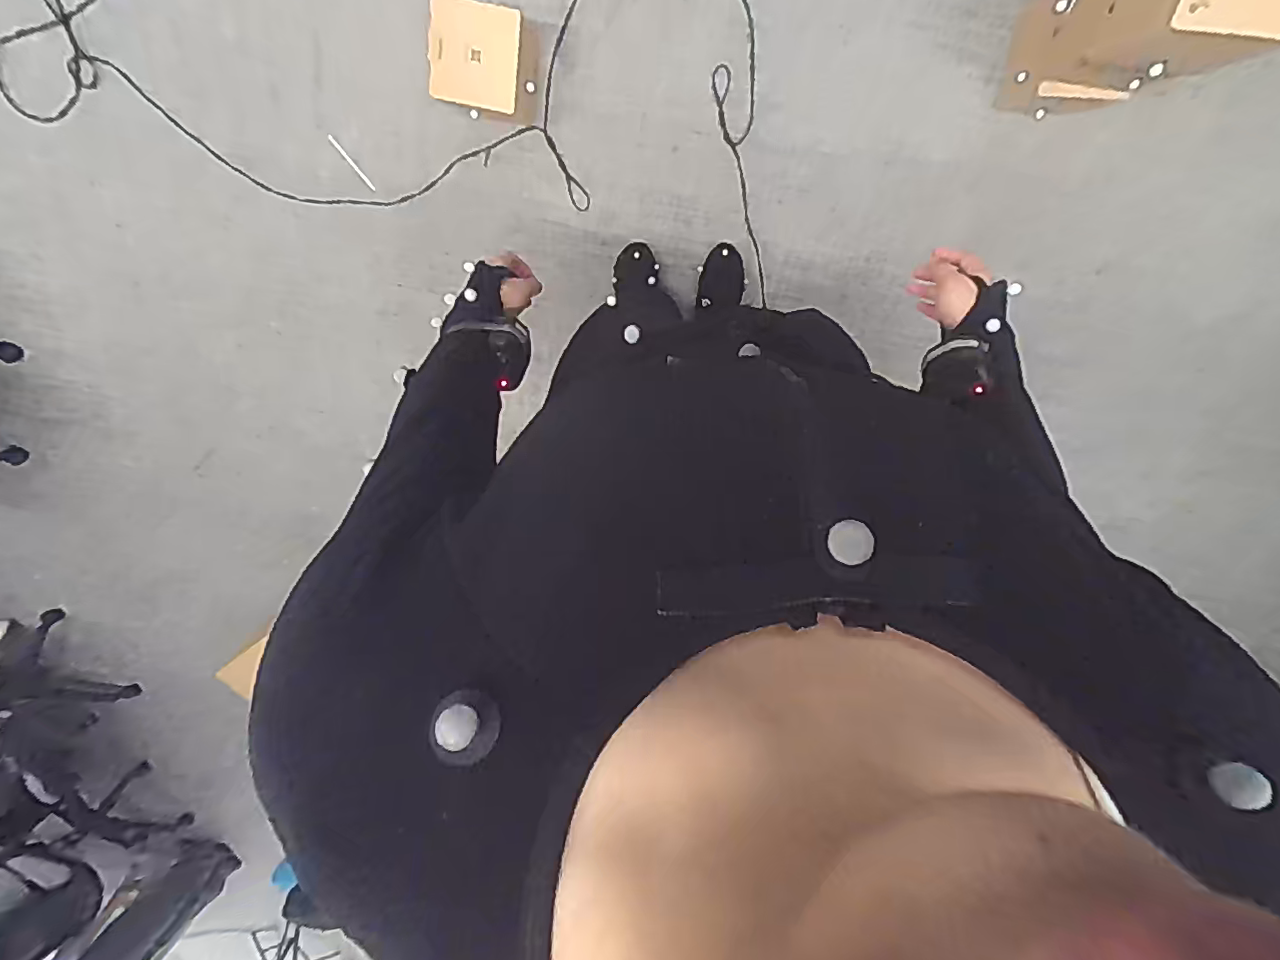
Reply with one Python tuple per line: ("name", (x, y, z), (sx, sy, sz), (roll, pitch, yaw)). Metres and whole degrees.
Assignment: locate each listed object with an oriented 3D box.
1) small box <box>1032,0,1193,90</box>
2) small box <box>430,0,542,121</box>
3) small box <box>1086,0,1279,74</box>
("small box", (0.800, -0.756, 0.880), (0.179, 0.176, 0.168), (9, 116, 2))
("small box", (-0.308, -0.852, 1.103), (0.179, 0.176, 0.168), (12, 117, 0))
("small box", (0.781, -0.678, 0.737), (0.179, 0.176, 0.168), (8, 116, 0))
